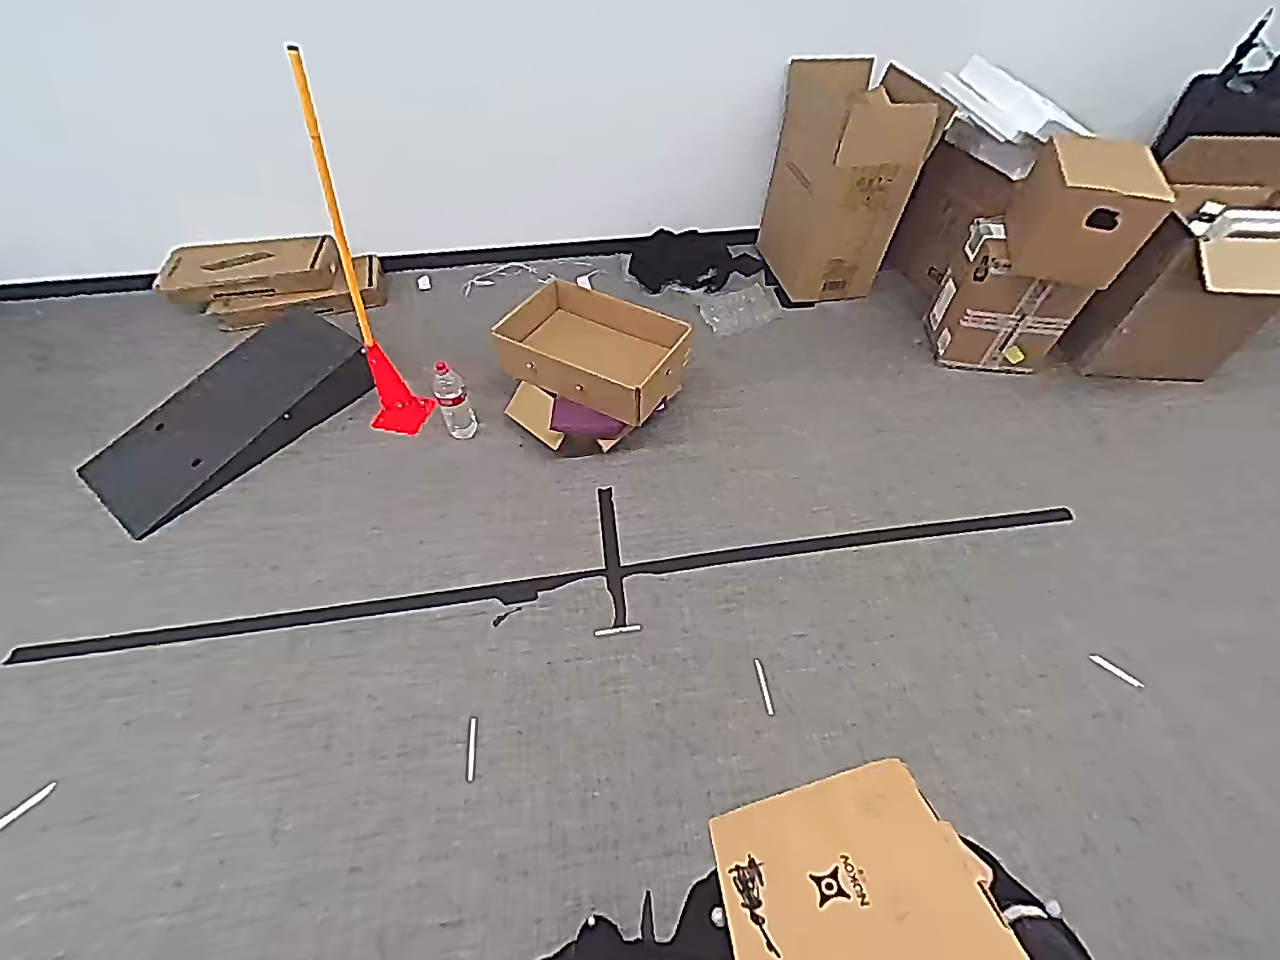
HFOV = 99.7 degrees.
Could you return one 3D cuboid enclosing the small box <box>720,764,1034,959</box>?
[{"bbox_3d":[0.180,0.370,0.422,0.179,0.176,0.168,-19,17,3],"label":"small box"}]
